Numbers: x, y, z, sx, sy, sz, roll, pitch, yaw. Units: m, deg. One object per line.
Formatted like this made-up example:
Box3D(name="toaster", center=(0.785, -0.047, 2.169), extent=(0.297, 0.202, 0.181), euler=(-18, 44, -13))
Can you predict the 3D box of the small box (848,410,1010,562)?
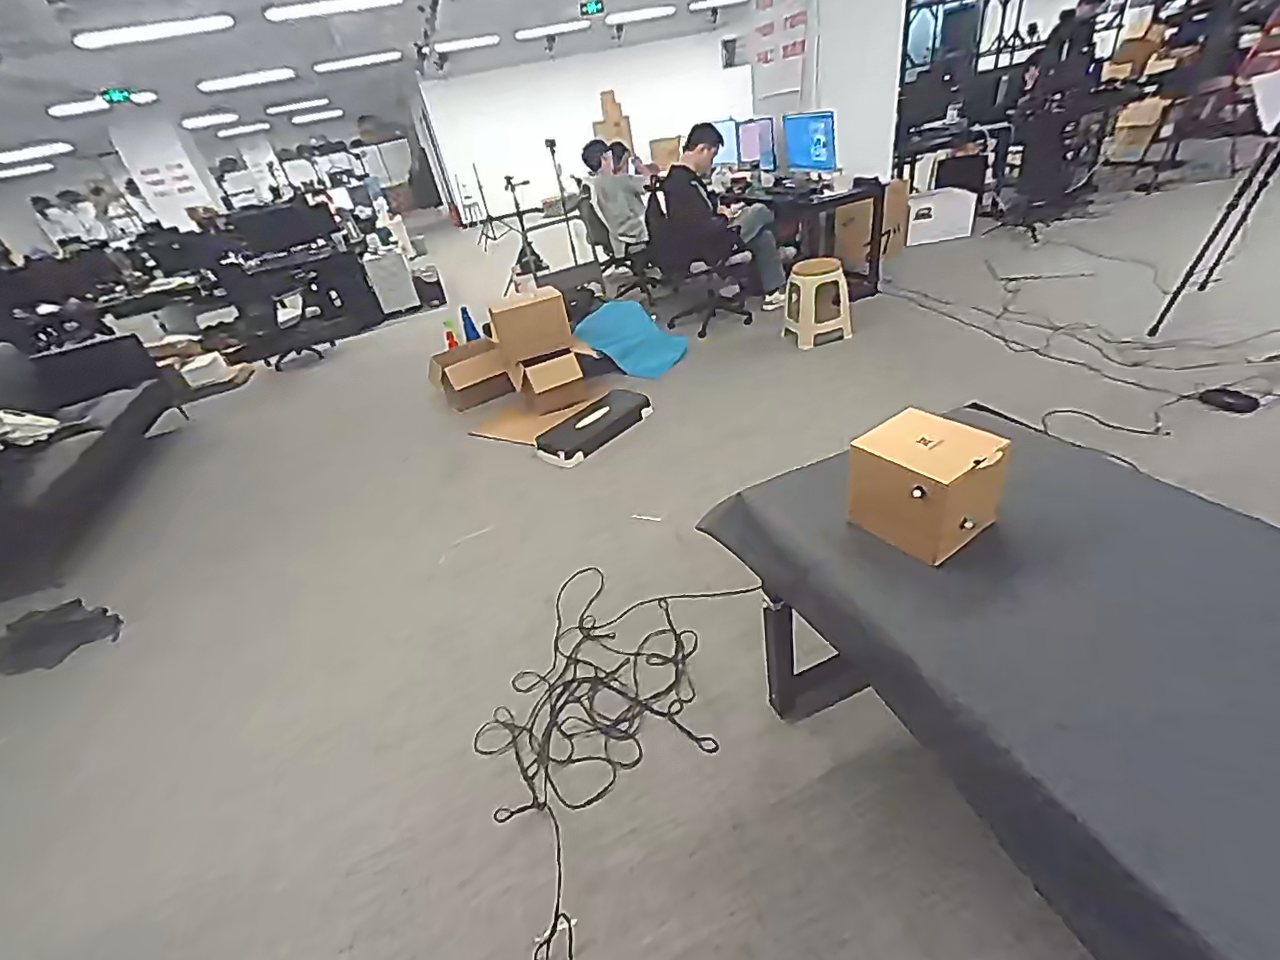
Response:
Box3D(name="small box", center=(0.474, 0.007, 0.915), extent=(0.168, 0.176, 0.179), euler=(-27, 37, -23))
